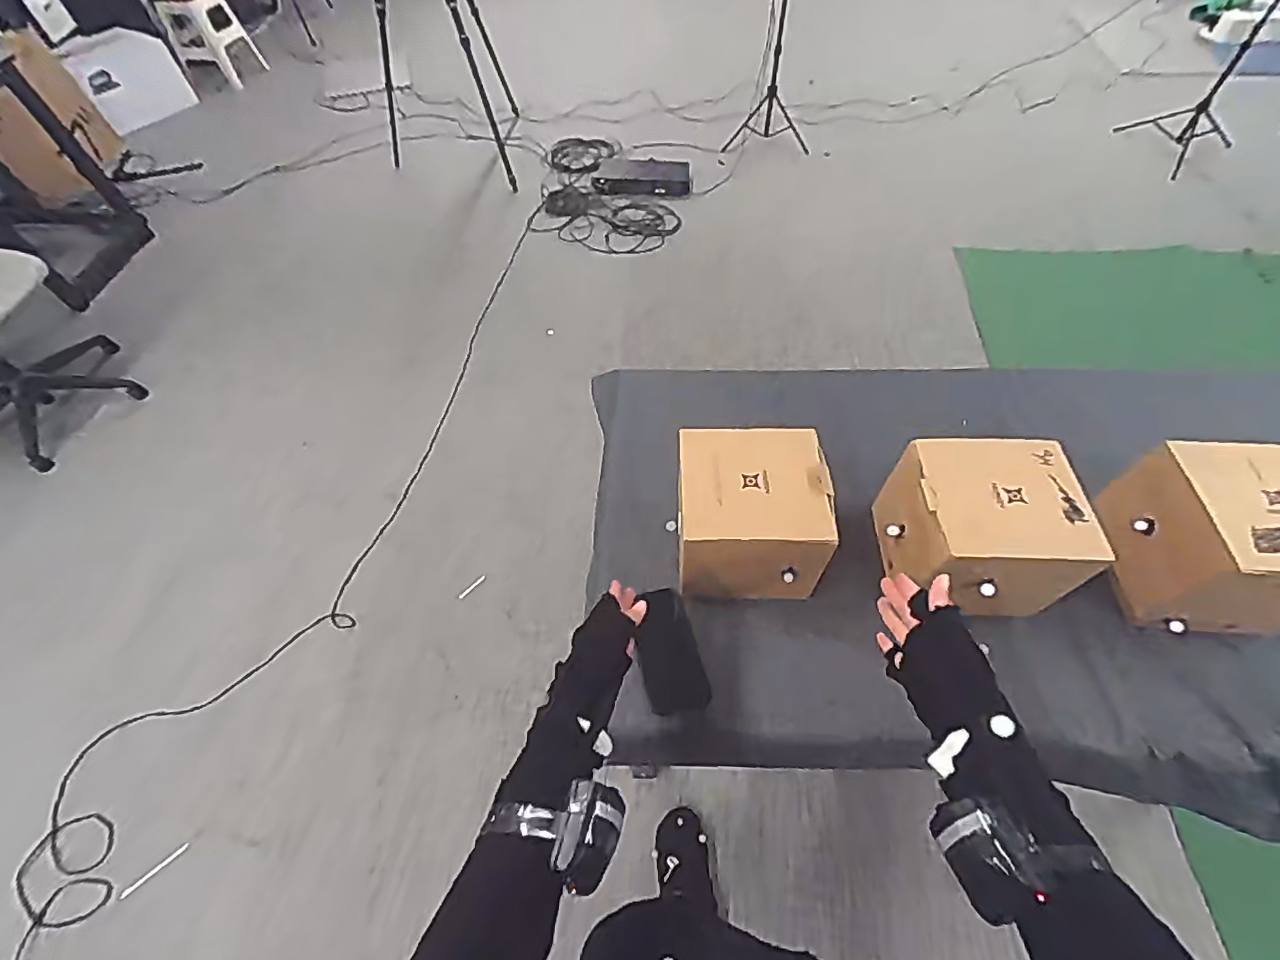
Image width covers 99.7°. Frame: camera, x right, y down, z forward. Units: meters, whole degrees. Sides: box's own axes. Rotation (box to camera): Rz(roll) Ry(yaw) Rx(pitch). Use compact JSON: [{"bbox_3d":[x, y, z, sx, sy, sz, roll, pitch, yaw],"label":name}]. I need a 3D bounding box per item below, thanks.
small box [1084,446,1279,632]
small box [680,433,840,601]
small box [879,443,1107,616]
[{"bbox_3d":[0.712,0.079,0.677,0.168,0.176,0.179,3,55,4],"label":"small box"},{"bbox_3d":[0.144,0.053,0.721,0.179,0.176,0.168,-1,54,3],"label":"small box"},{"bbox_3d":[0.426,0.068,0.698,0.179,0.176,0.168,0,56,4],"label":"small box"}]
